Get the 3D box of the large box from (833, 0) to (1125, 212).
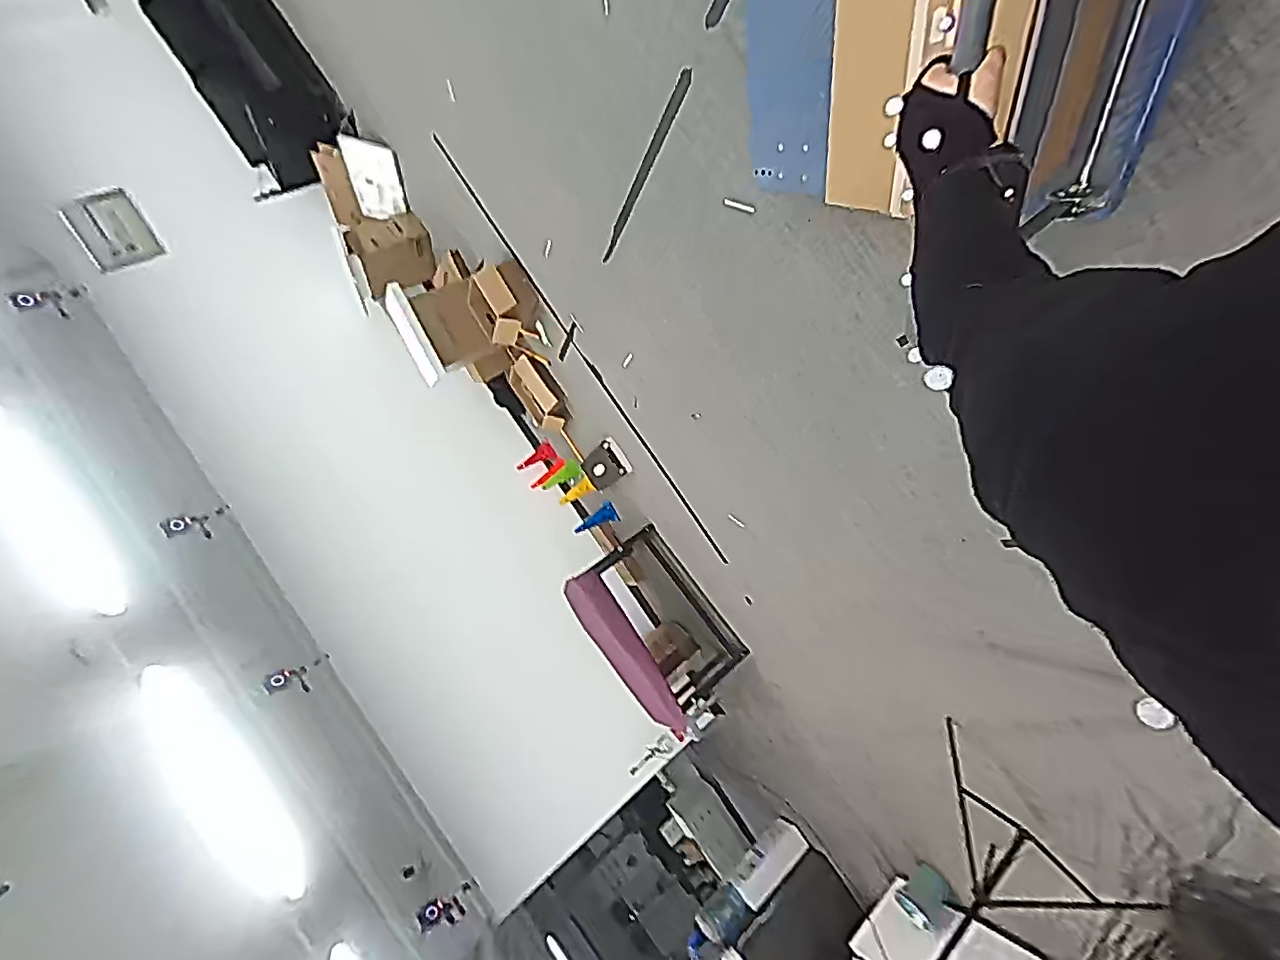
[{"bbox_3d":[0.561,-0.720,0.912,0.320,0.320,0.408,34,148,40],"label":"large box"}]
